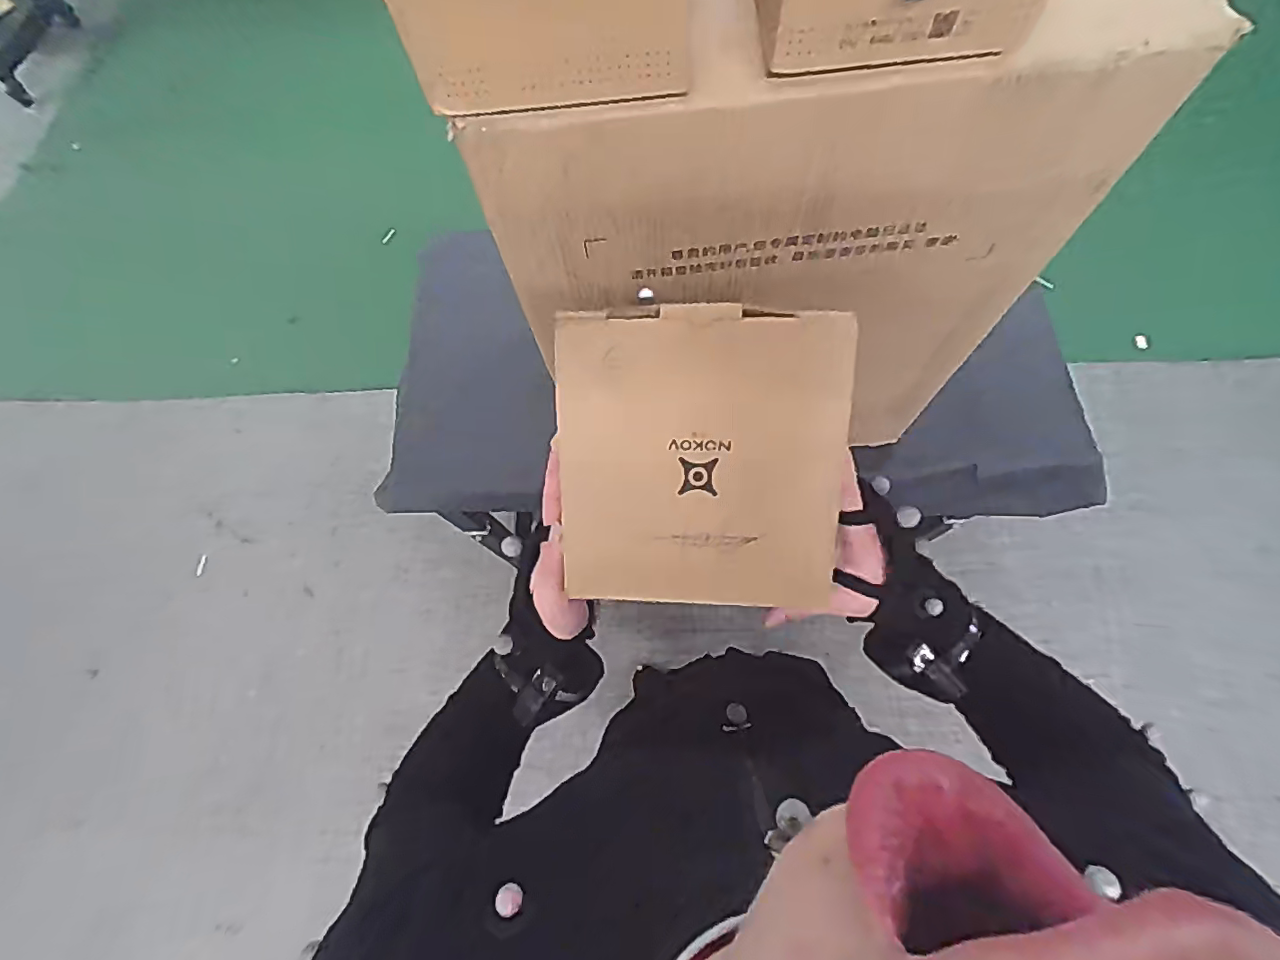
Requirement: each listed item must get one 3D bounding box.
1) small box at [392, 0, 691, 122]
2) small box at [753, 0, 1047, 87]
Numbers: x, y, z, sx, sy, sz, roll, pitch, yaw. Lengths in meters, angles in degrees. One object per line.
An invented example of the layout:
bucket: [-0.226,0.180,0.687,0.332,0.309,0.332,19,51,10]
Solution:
small box: [-0.061,-0.348,0.320,0.179,0.176,0.168,-4,71,3]
small box: [0.158,-0.373,0.314,0.168,0.176,0.179,-4,71,2]
